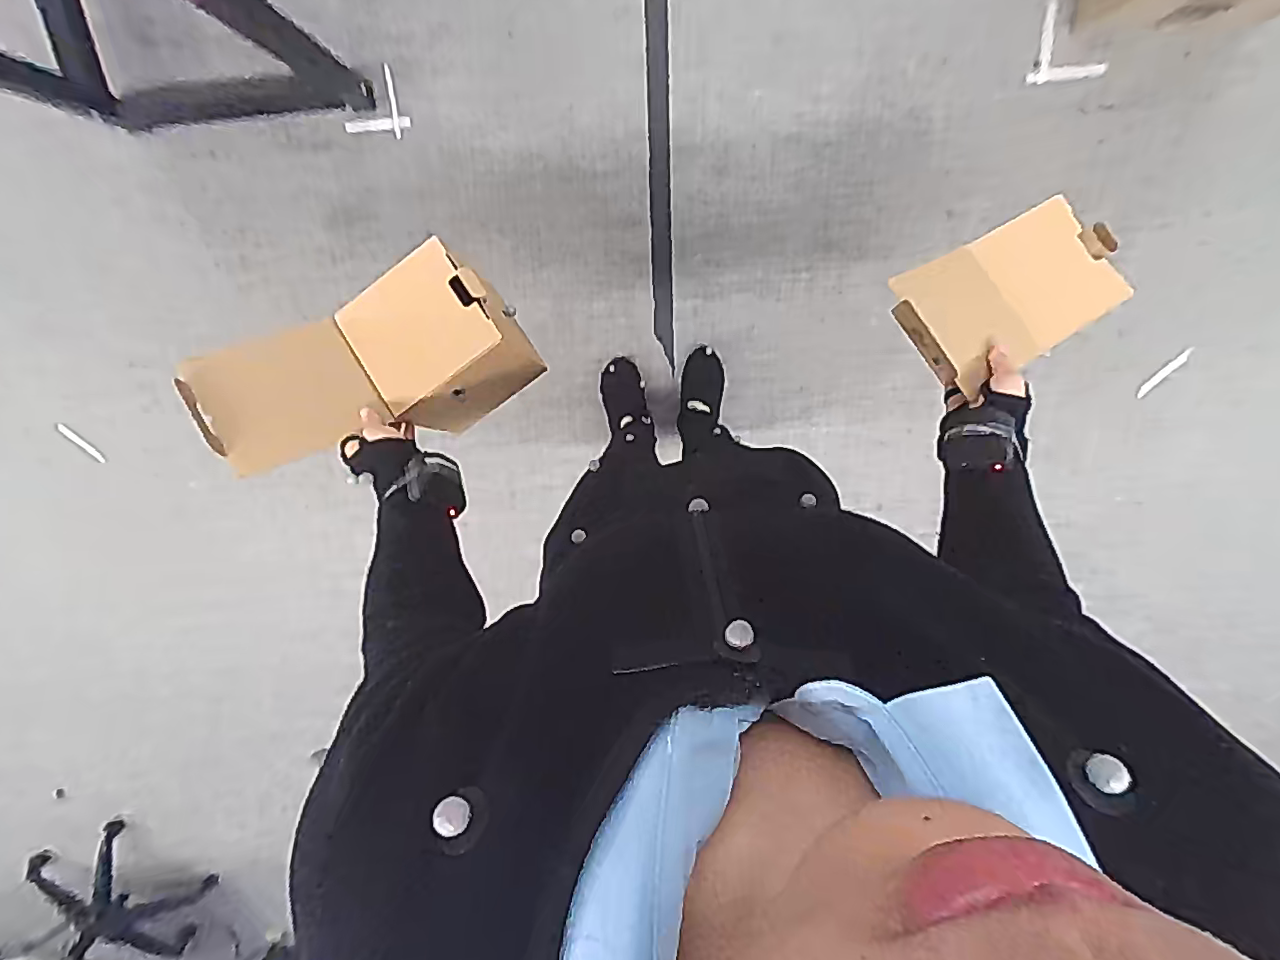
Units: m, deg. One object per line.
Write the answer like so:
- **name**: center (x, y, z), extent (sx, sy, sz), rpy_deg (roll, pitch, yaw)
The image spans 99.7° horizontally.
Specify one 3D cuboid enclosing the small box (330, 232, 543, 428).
- **small box**: center (-0.263, -0.186, 0.735), extent (0.179, 0.176, 0.168), rpy_deg (-34, 84, 9)
